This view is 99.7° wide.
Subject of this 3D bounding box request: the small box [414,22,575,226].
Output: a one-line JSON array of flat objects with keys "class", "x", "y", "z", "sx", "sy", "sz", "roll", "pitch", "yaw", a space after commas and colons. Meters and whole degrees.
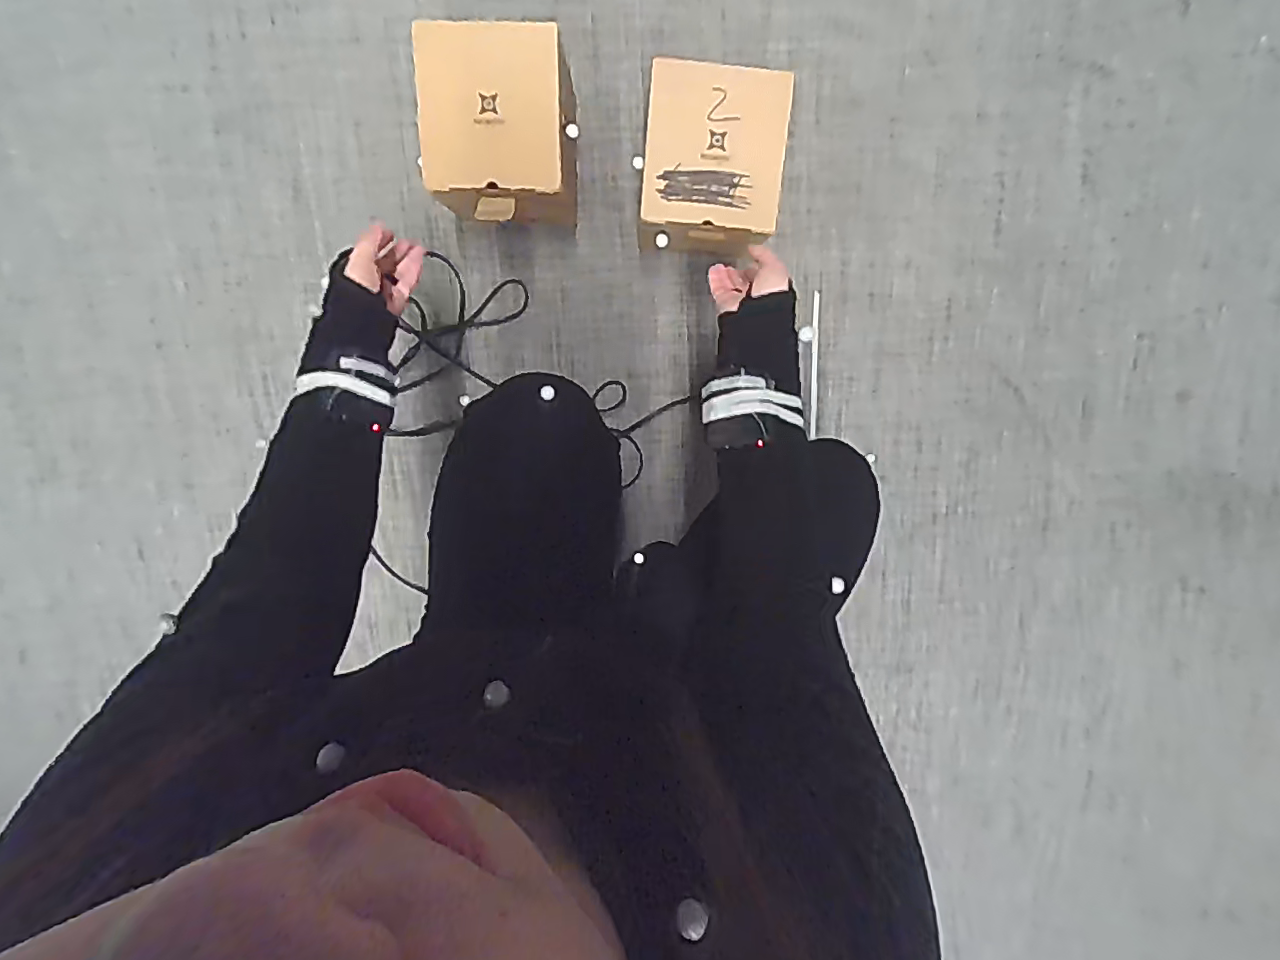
[{"class": "small box", "x": -0.177, "y": -0.448, "z": 0.706, "sx": 0.168, "sy": 0.176, "sz": 0.179, "roll": 1, "pitch": 104, "yaw": -1}]
